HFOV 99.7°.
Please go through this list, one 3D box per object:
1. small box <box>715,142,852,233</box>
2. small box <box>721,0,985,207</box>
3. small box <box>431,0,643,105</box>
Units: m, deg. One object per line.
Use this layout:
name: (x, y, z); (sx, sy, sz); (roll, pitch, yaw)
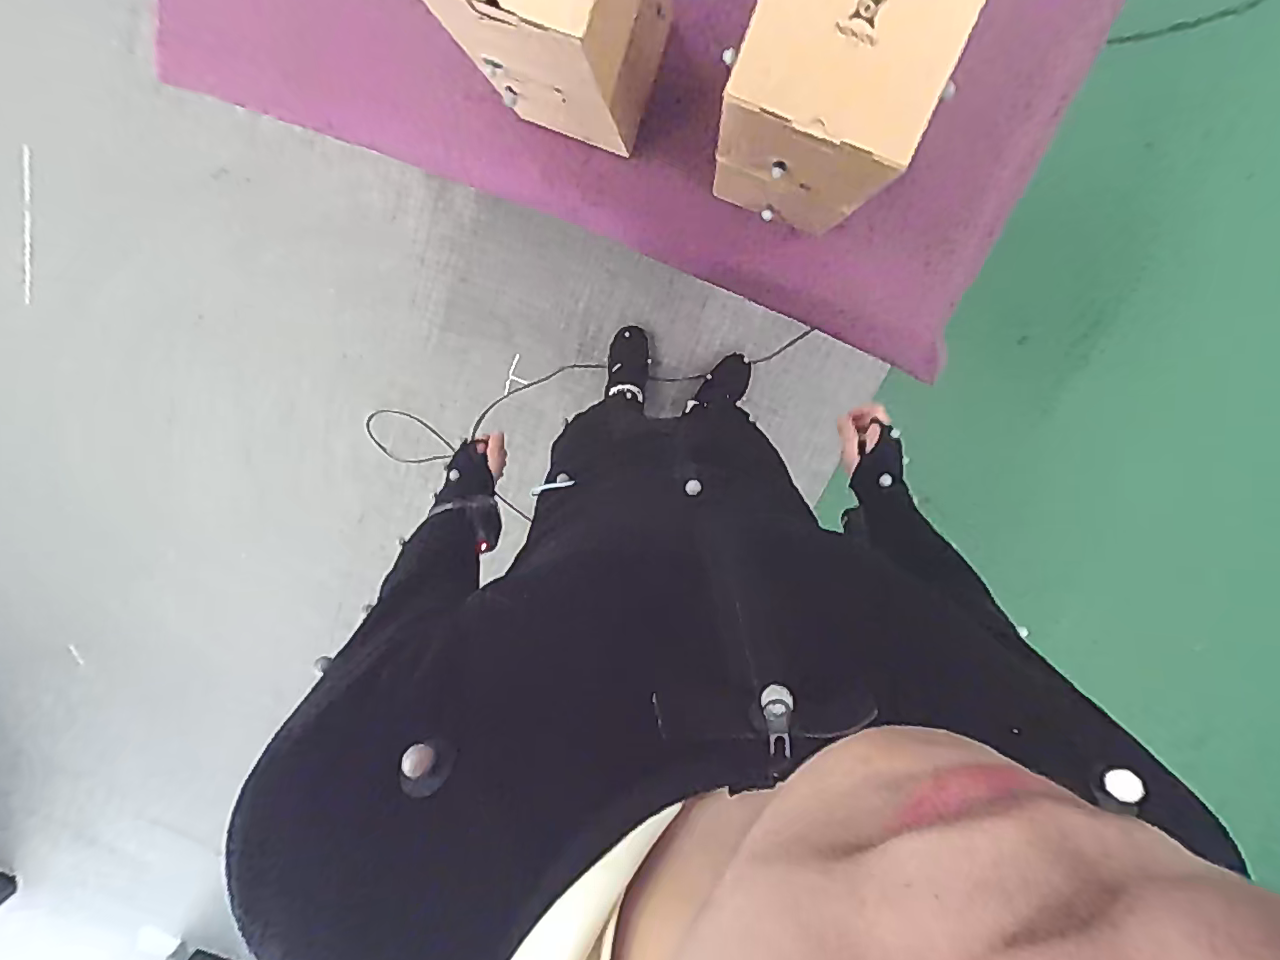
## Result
small box: (0.197, -0.428, 0.660); (0.168, 0.176, 0.179); (22, 107, -1)
small box: (0.182, -0.386, 0.503); (0.168, 0.176, 0.179); (22, 107, -1)
small box: (-0.087, -0.491, 0.498); (0.168, 0.176, 0.179); (22, 106, -1)
